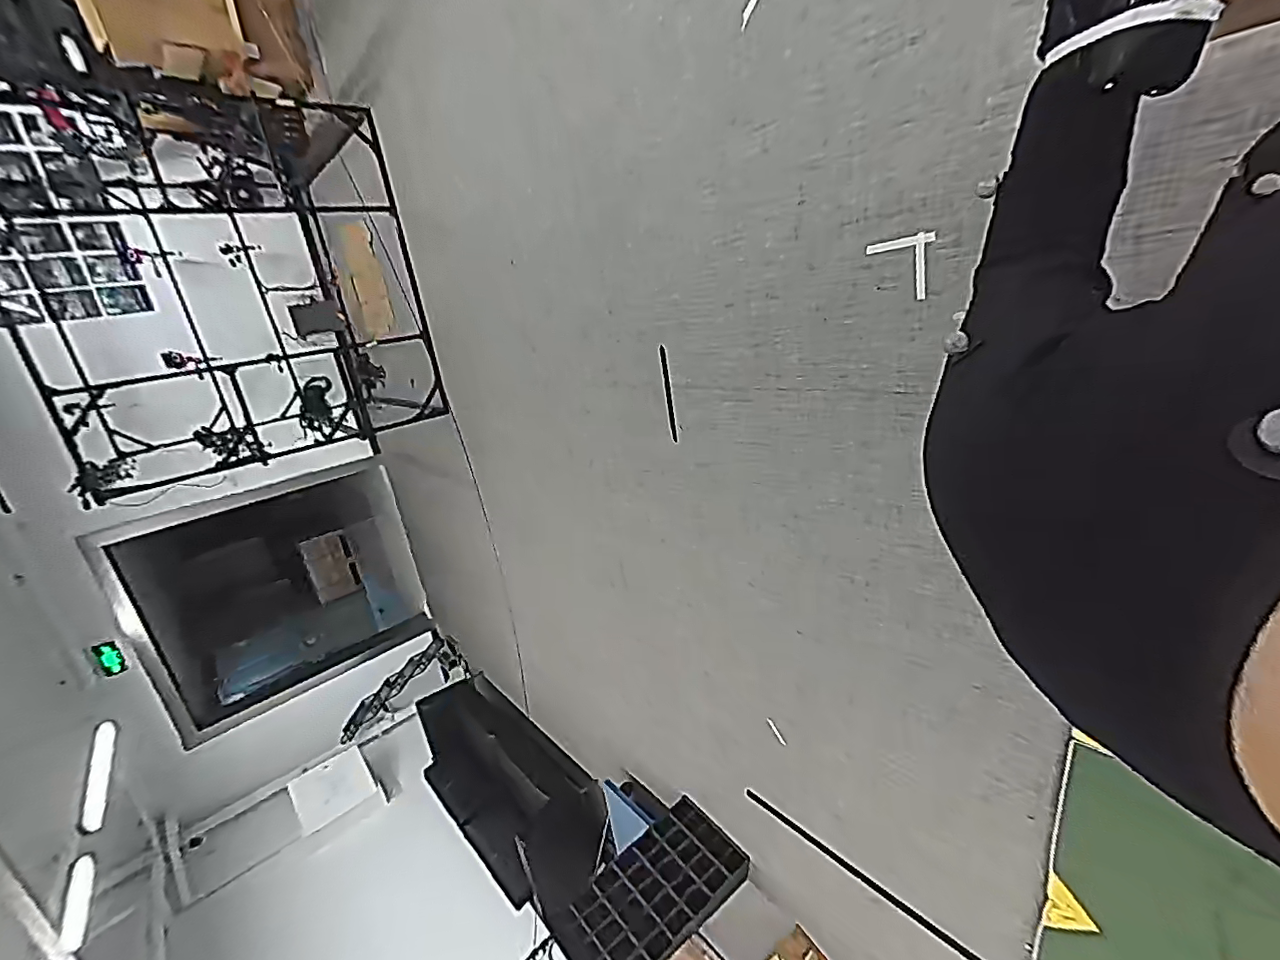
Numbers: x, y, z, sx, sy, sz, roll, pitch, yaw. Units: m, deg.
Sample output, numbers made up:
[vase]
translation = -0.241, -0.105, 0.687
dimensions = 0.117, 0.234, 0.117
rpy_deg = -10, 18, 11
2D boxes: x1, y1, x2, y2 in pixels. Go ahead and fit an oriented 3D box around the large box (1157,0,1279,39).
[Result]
[large box]
translation = 0.565, -0.508, 0.275
dimensions = 0.408, 0.320, 0.320
rpy_deg = 11, 123, 46
